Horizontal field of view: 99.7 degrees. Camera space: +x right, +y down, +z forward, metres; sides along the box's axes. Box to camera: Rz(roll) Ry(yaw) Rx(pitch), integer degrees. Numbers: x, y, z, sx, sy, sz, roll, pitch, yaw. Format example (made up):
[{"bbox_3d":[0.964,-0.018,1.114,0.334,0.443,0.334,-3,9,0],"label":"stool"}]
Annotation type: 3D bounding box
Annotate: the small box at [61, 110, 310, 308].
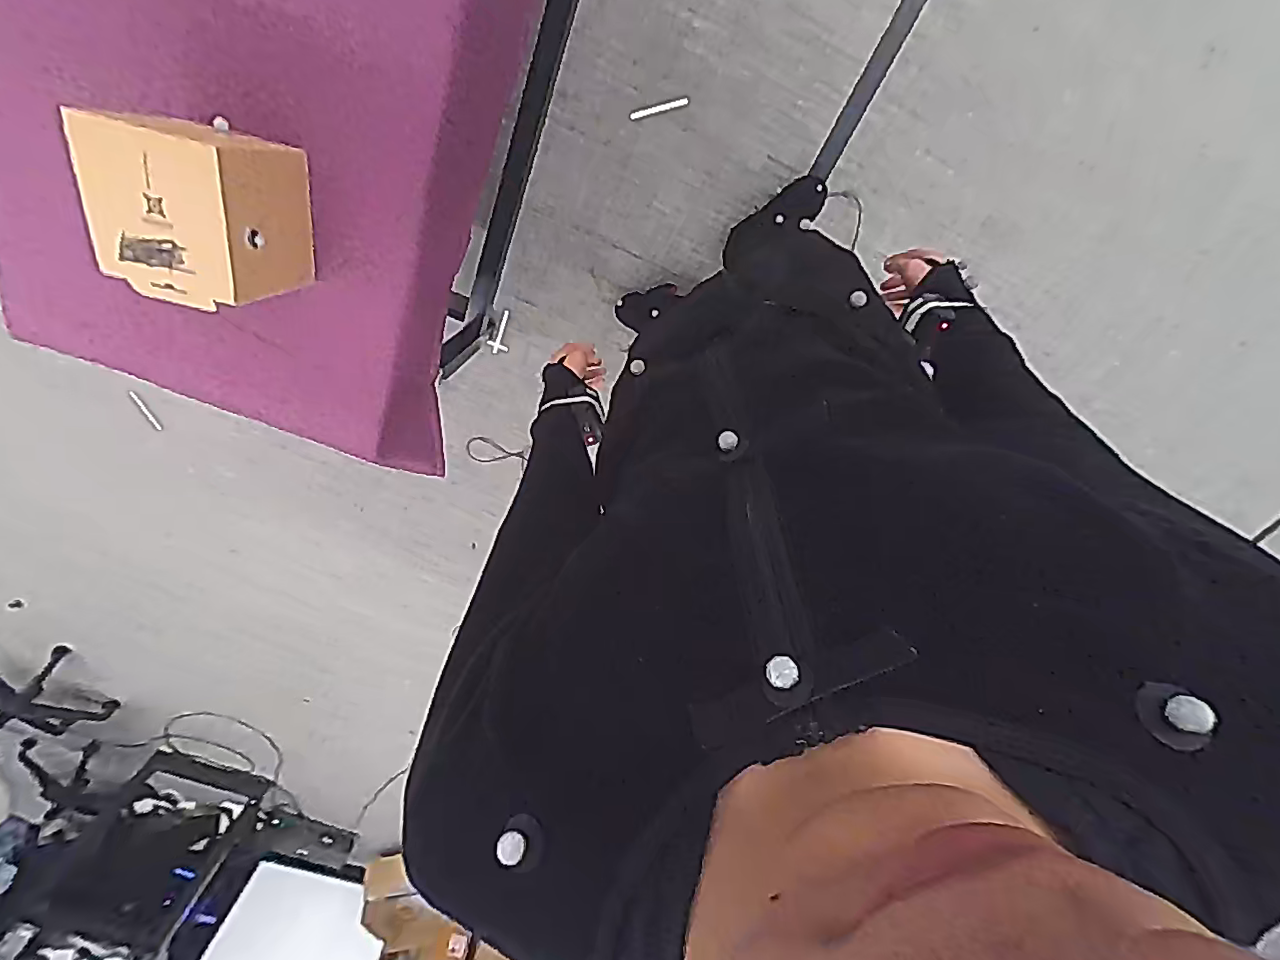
[{"bbox_3d":[-0.552,-0.341,0.690,0.168,0.176,0.179,13,119,-4],"label":"small box"}]
